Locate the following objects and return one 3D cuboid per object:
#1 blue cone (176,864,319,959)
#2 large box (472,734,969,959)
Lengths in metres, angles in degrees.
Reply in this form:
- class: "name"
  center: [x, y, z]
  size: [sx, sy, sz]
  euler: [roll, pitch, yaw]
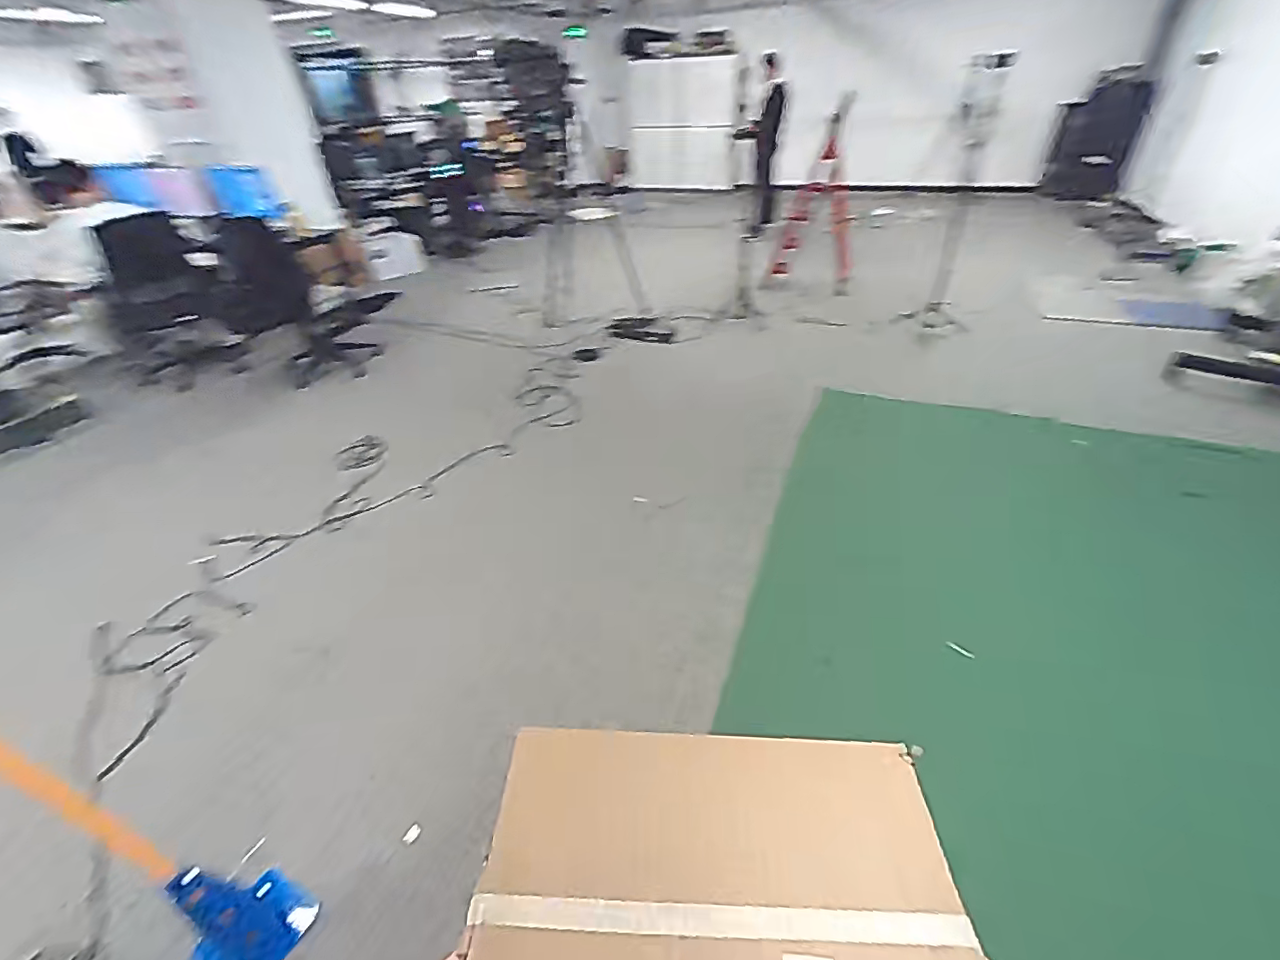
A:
- class: "blue cone"
  center: [-0.878, 0.907, 1.153]
  size: [0.192, 0.380, 0.193]
  euler: [18, 41, 26]
- class: "large box"
  center: [0.059, 0.483, 0.537]
  size: [0.408, 0.320, 0.320]
  euler: [2, 37, -1]
